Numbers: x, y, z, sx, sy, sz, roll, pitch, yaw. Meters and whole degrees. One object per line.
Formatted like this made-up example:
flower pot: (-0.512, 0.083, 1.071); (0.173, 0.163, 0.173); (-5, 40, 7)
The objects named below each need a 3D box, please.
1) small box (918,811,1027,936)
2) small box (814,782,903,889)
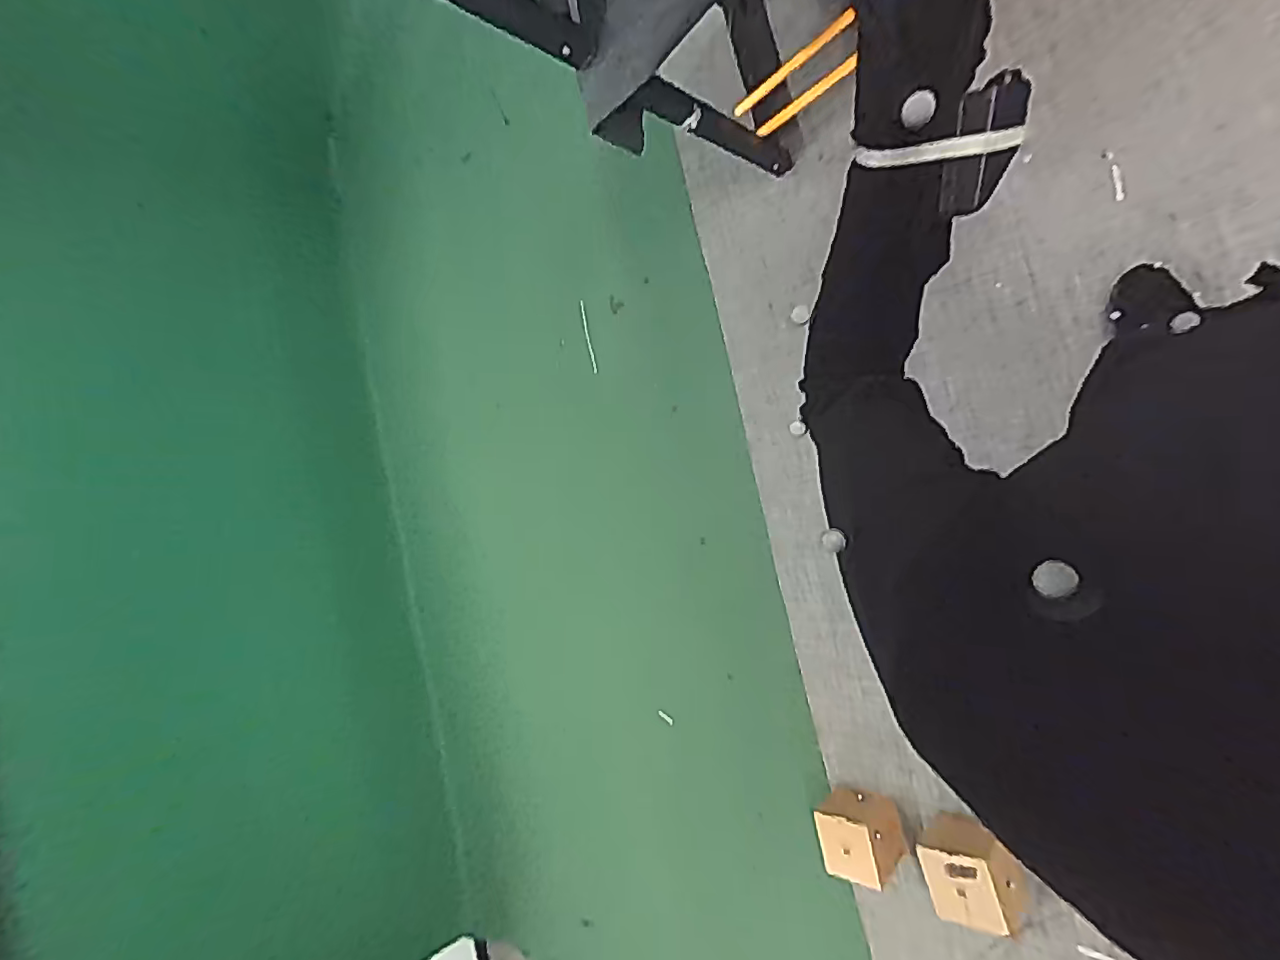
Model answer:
small box: (0.827, 0.962, 1.343); (0.168, 0.176, 0.179); (-22, 81, 46)
small box: (0.631, 1.012, 1.555); (0.168, 0.176, 0.179); (-16, 84, 45)
